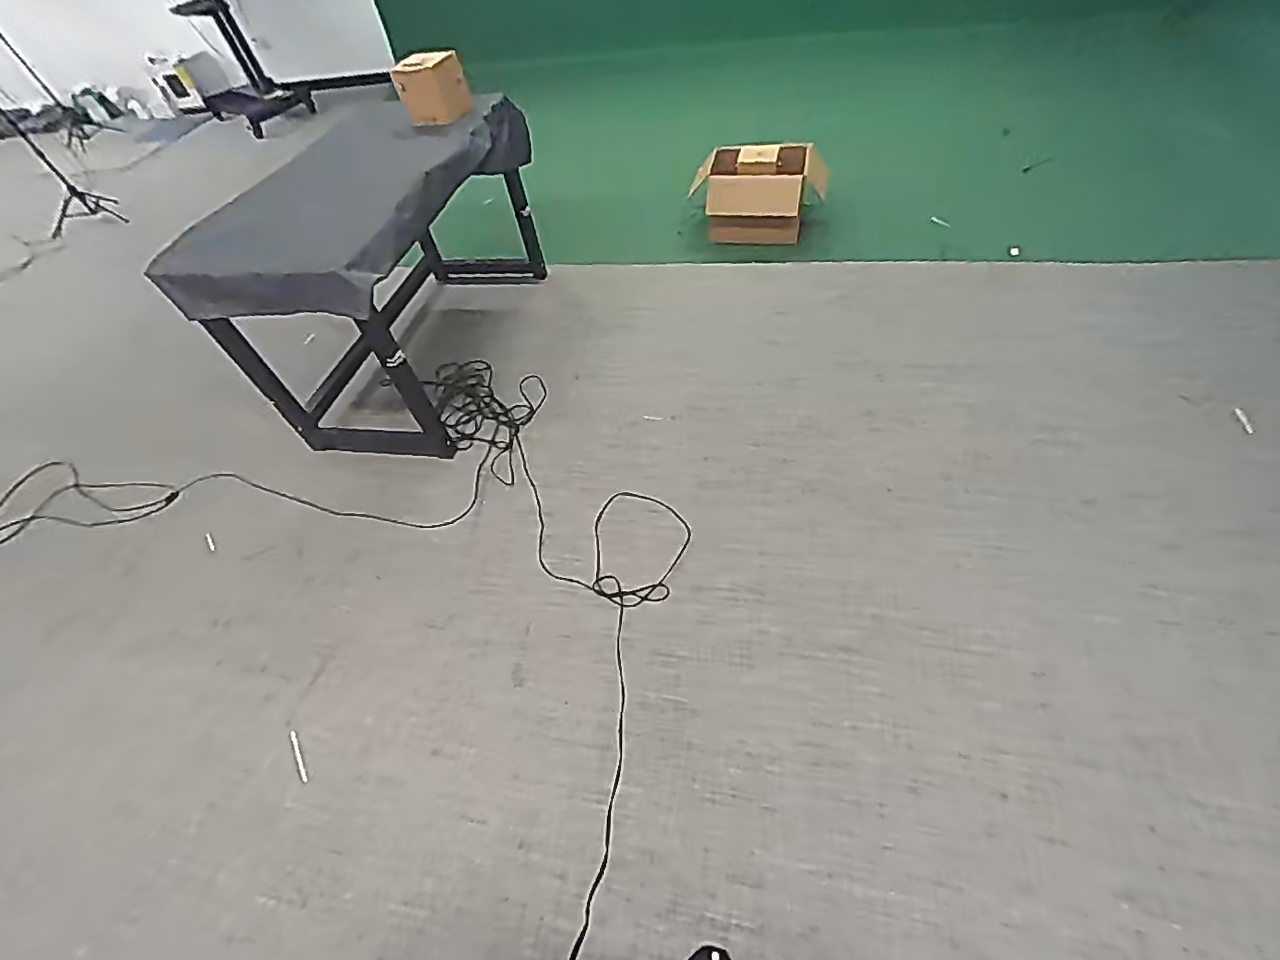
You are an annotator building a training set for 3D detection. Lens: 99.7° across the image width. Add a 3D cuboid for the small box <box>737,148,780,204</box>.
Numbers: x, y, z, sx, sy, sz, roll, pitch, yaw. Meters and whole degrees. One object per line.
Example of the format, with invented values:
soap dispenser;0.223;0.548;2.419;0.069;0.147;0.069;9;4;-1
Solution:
small box;0.525;-1.351;2.403;0.168;0.176;0.179;8;52;14
